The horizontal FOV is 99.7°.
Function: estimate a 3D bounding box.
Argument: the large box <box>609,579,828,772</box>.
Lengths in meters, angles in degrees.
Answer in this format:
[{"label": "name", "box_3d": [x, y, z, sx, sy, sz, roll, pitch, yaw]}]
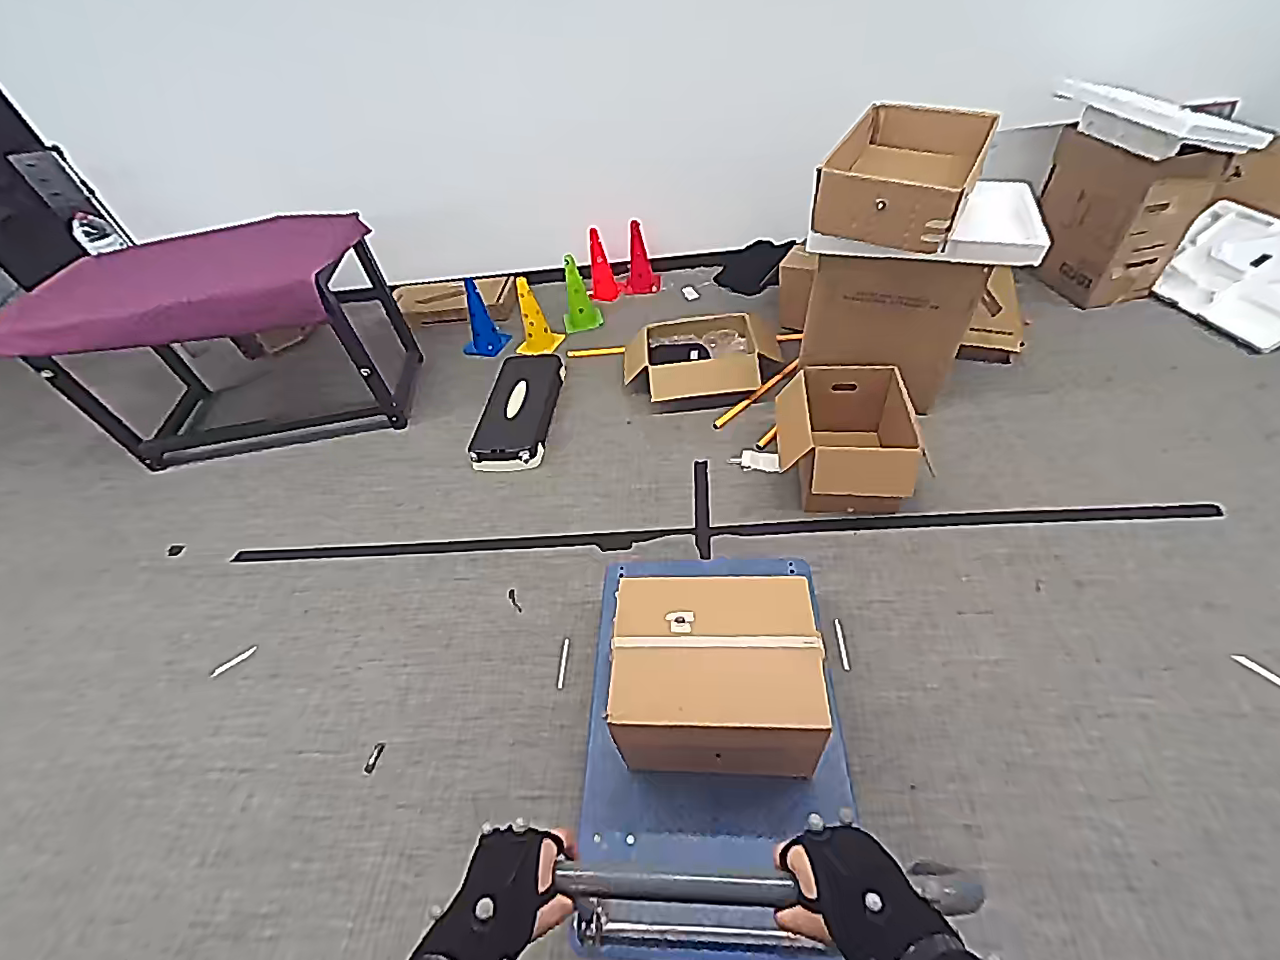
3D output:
[{"label": "large box", "box_3d": [0.164, 0.436, 1.189, 0.408, 0.320, 0.320, -3, 46, 8]}]
